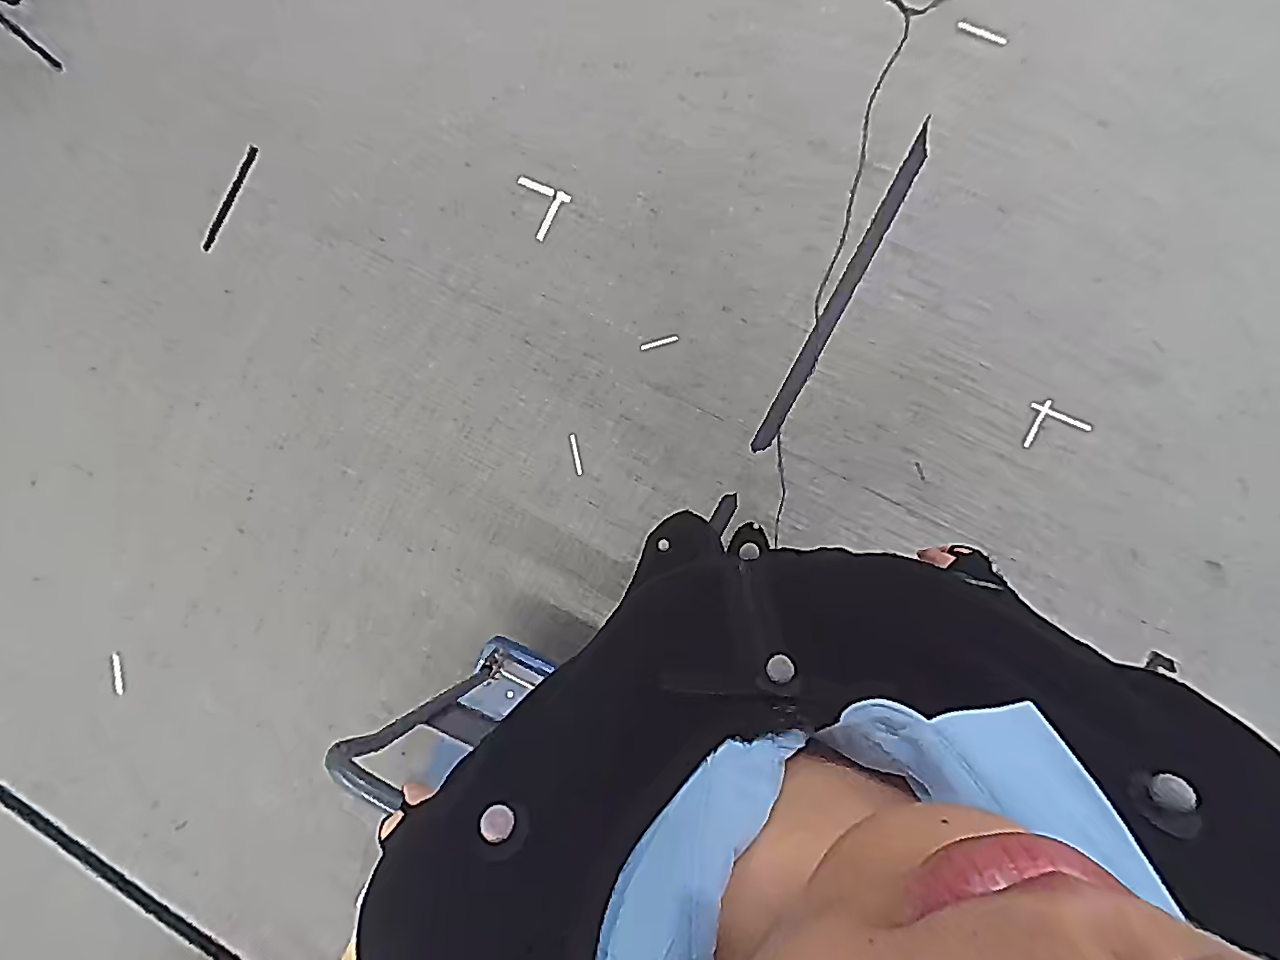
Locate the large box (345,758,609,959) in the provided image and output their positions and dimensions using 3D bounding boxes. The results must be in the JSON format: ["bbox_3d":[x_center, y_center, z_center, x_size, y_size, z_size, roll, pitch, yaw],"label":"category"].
[{"bbox_3d":[-0.327,0.897,1.183,0.408,0.320,0.320,25,90,7],"label":"large box"}]
